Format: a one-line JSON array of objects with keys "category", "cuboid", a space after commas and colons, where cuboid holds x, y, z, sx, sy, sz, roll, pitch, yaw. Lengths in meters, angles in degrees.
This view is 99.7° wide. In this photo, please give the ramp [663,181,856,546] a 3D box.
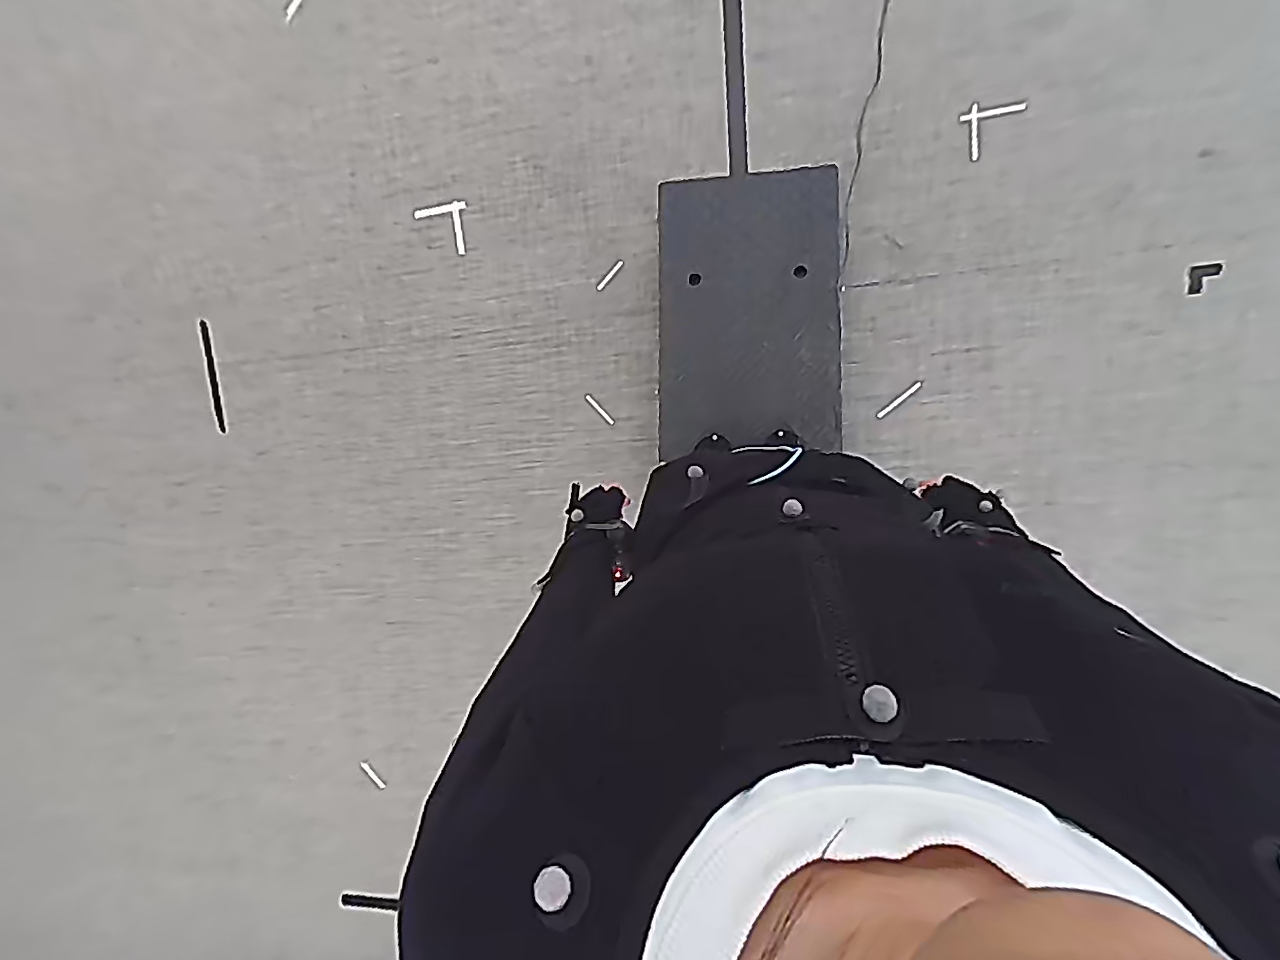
[{"category": "ramp", "cuboid": [0.311, -0.320, 1.495, 0.509, 0.206, 0.991, -4, 94, 12]}]
